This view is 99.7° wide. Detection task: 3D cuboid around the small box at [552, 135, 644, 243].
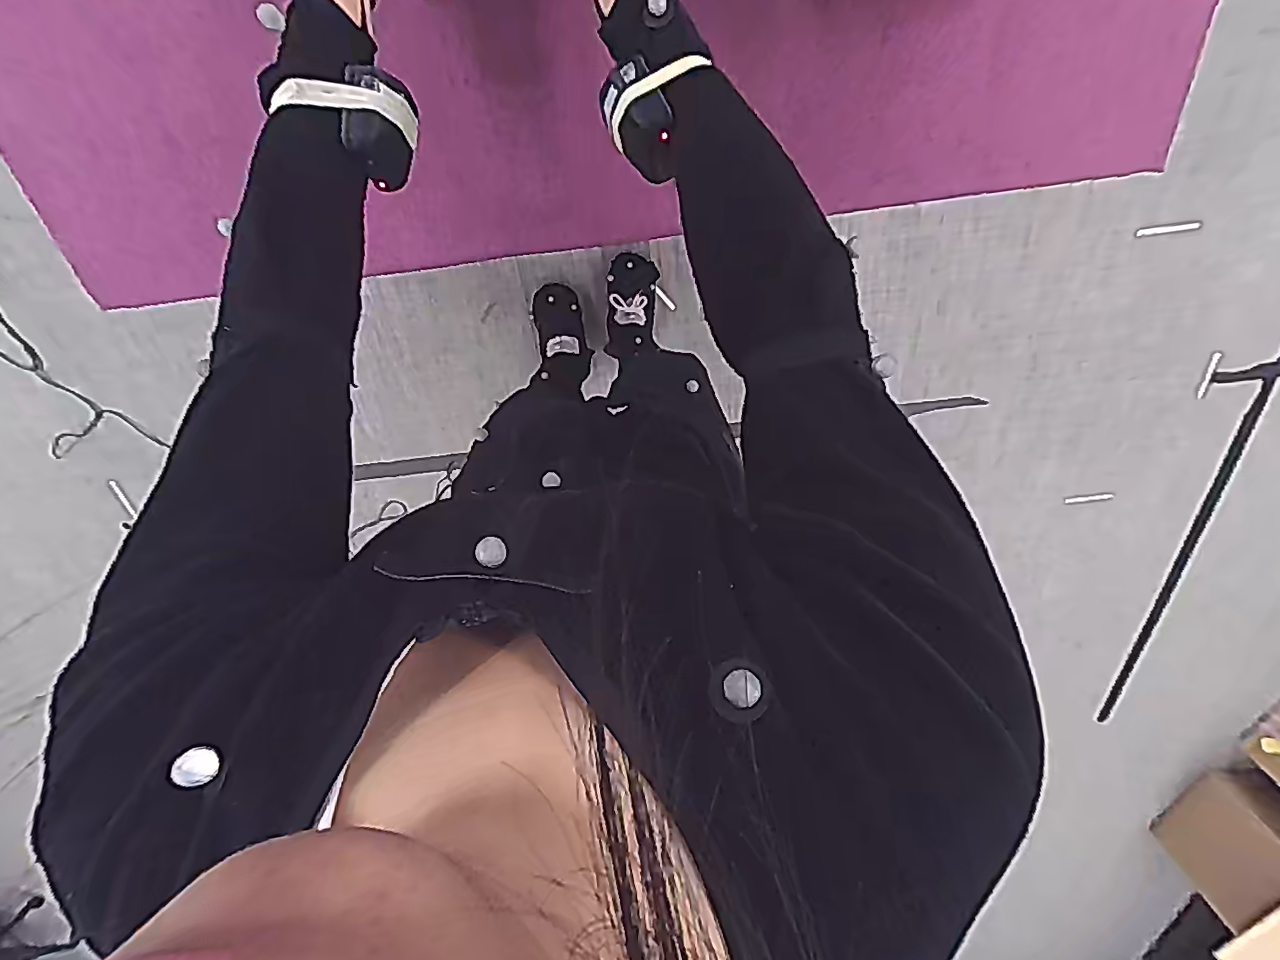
[{"bbox_3d":[-0.086,-0.618,1.150,0.168,0.176,0.179,-8,121,1],"label":"small box"}]
